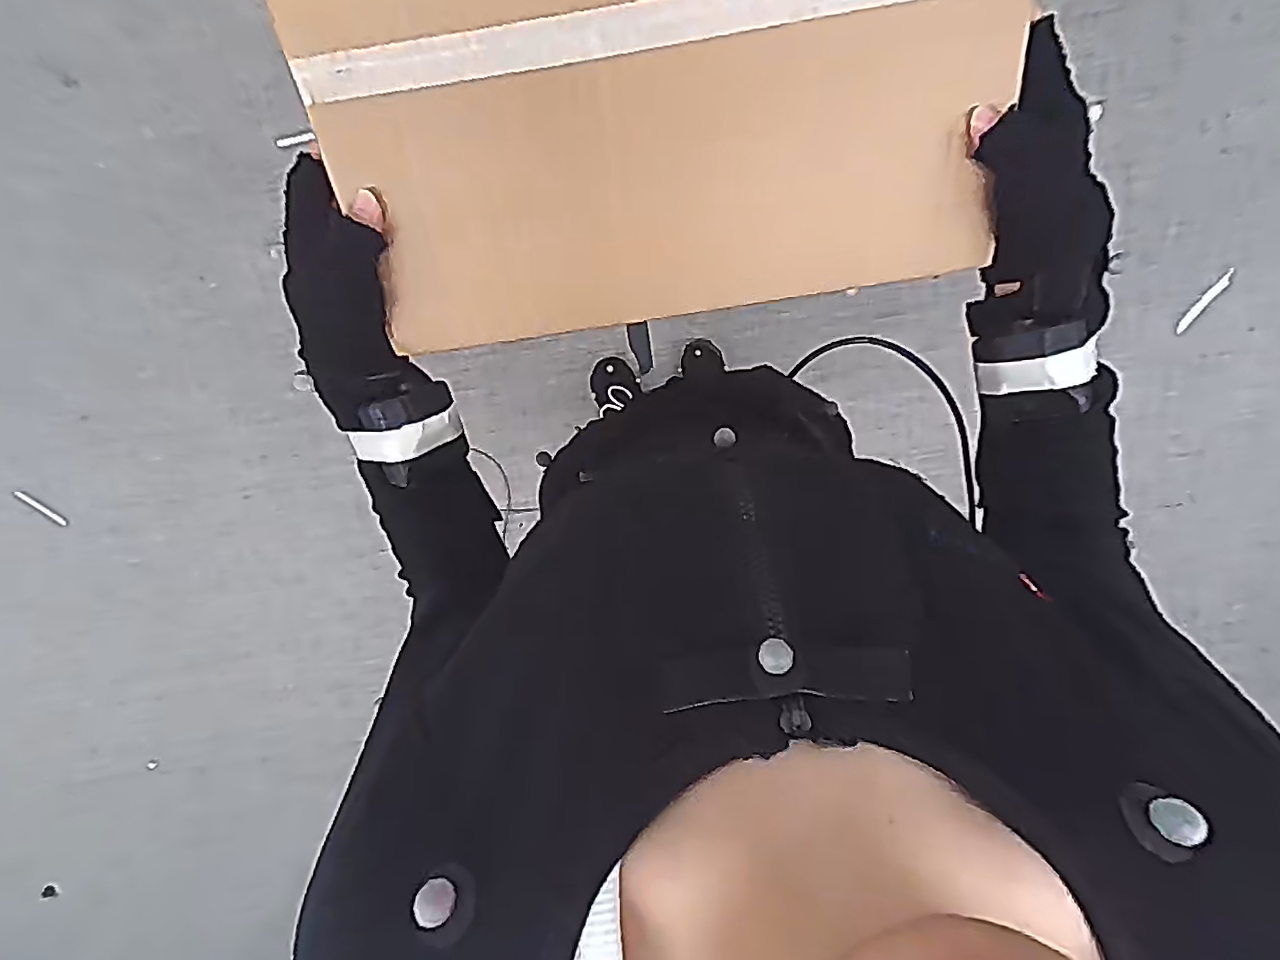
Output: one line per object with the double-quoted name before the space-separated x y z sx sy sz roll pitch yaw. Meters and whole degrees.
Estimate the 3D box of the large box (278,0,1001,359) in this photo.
"large box" 0.002 -0.318 0.435 0.408 0.320 0.320 -8 117 2
